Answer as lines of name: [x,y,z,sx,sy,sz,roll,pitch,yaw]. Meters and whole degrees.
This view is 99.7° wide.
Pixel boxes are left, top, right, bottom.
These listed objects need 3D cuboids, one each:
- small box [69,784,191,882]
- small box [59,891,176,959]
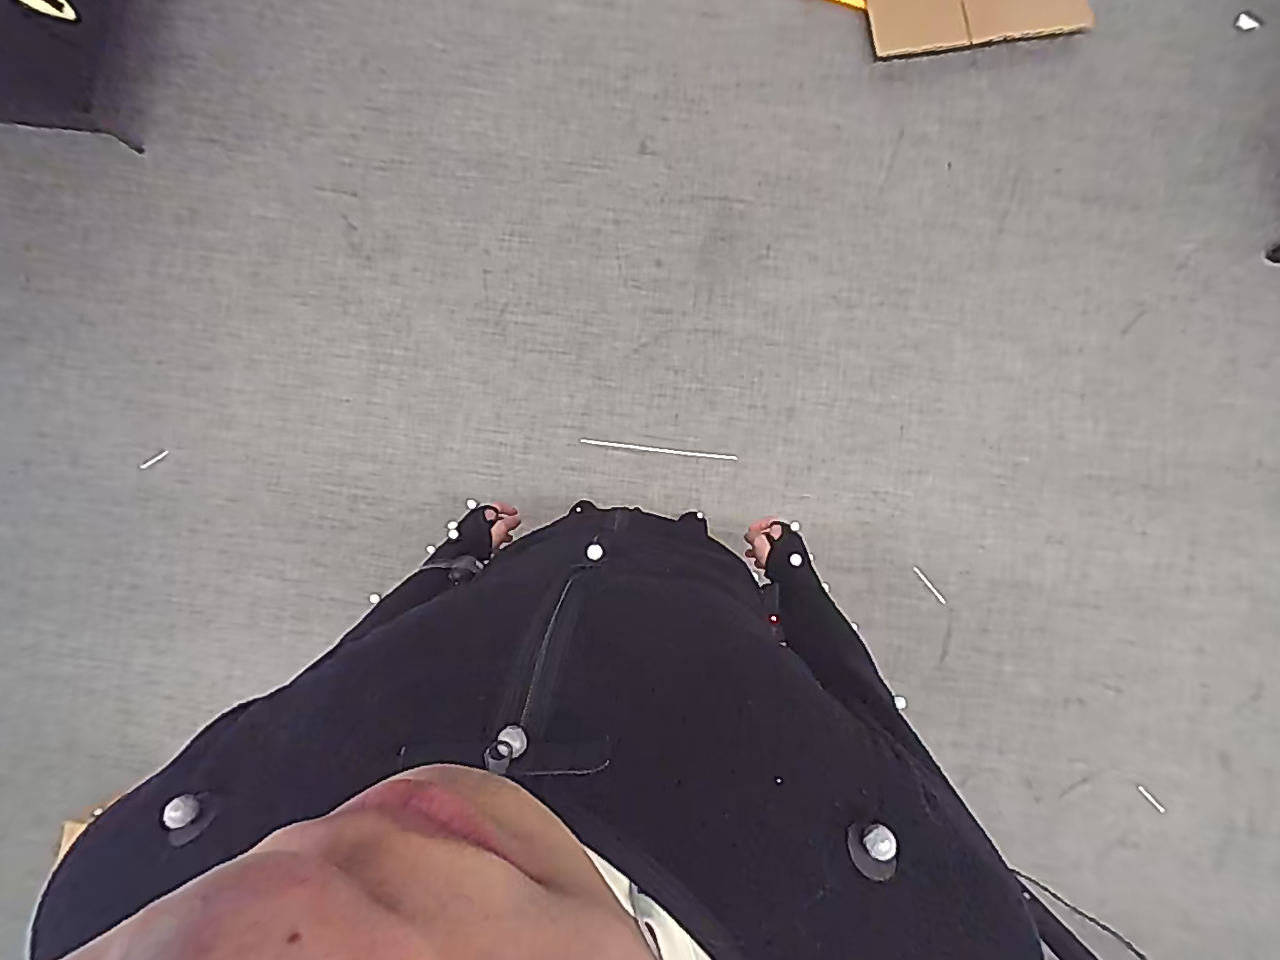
small box: [-1.460,1.006,1.557,0.179,0.176,0.168,9,87,1]
small box: [-1.492,1.319,1.543,0.179,0.176,0.168,6,87,1]
